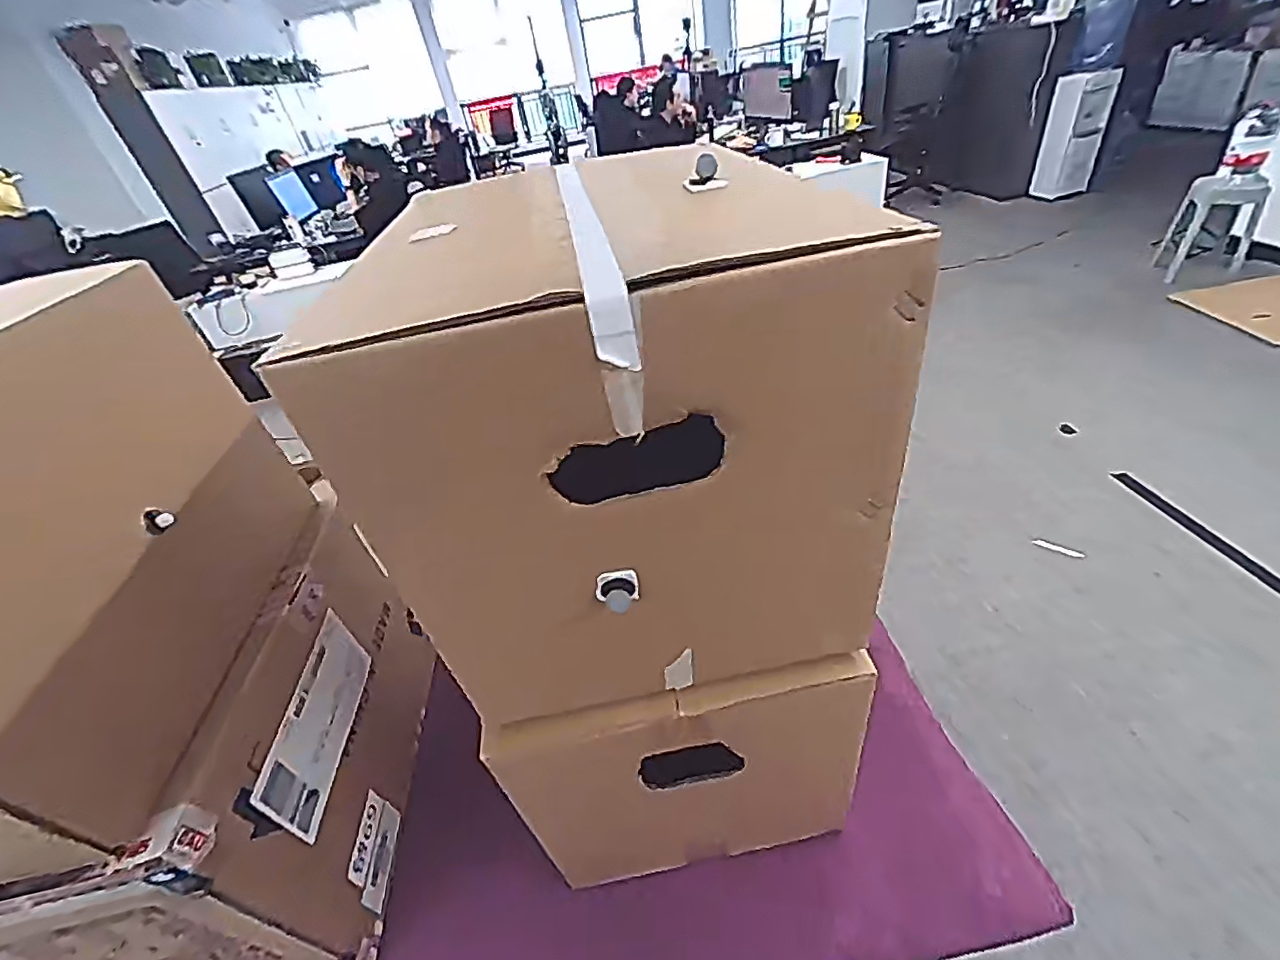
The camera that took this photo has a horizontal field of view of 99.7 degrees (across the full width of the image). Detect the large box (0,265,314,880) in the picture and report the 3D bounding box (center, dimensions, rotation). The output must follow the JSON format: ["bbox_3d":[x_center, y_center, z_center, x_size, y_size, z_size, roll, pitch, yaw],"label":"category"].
[{"bbox_3d":[-0.551,0.062,0.446,0.320,0.320,0.408,-14,38,-1],"label":"large box"}]
